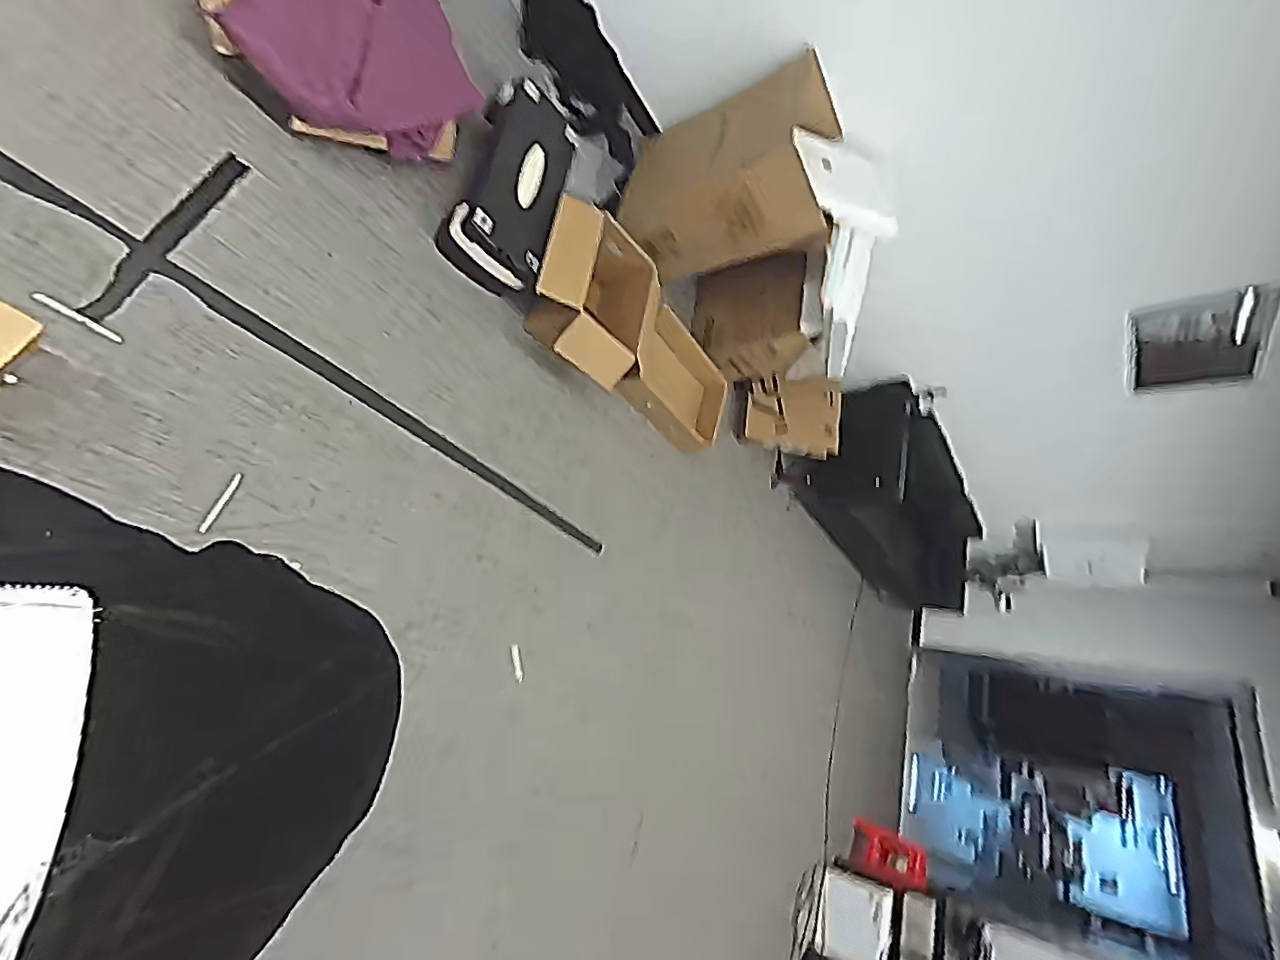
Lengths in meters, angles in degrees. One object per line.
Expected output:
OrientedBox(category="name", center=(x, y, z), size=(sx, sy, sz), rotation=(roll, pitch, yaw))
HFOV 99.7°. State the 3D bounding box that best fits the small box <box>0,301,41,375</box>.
OrientedBox(category="small box", center=(-1.178, -0.245, 0.900), size=(0.179, 0.176, 0.168), rotation=(45, 54, -40))
